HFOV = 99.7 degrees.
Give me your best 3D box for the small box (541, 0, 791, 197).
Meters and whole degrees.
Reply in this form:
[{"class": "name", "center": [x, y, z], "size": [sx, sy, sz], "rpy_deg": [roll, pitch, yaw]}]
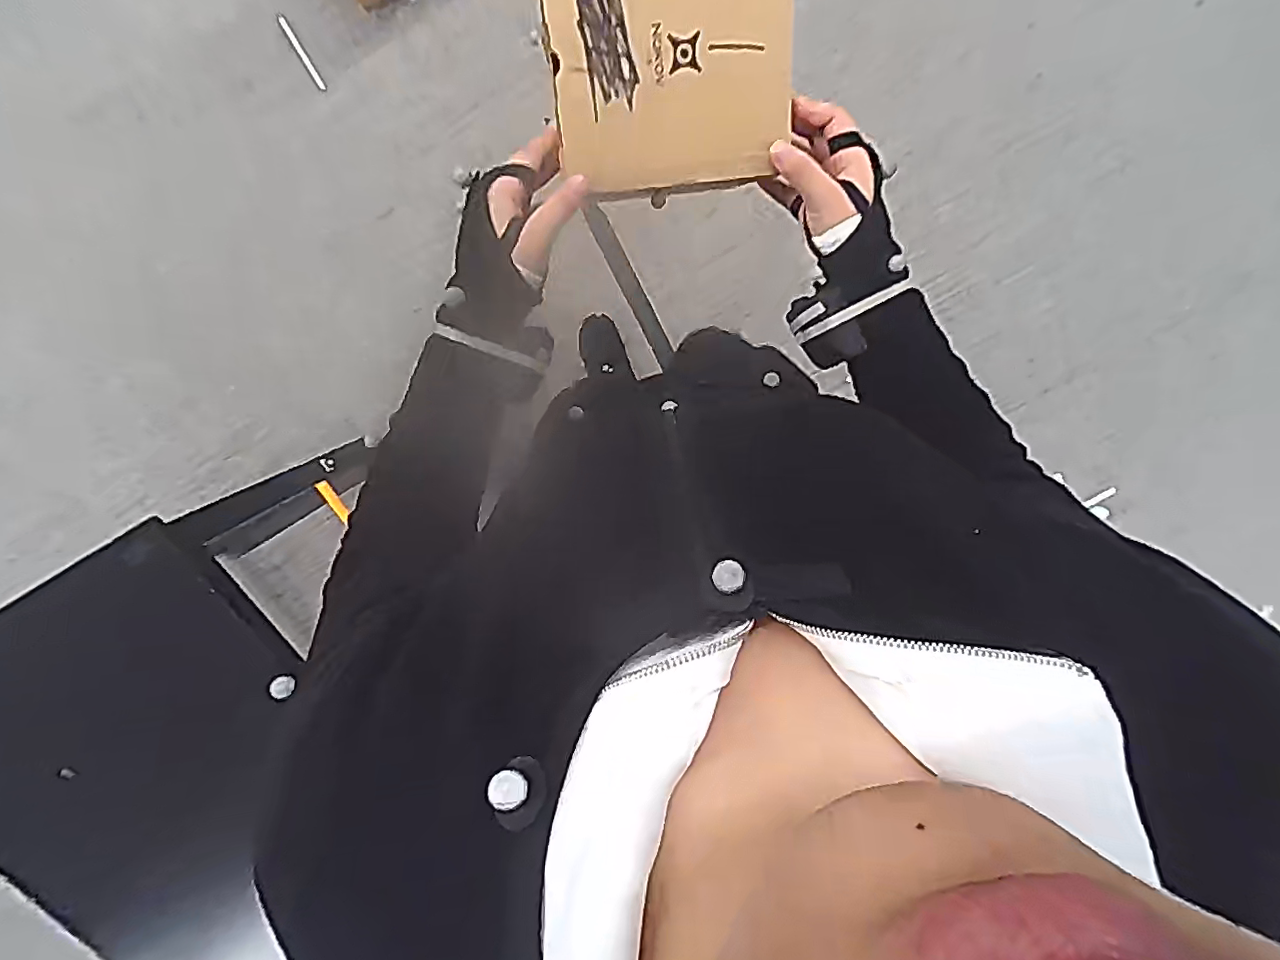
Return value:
[{"class": "small box", "center": [0.014, -0.341, 0.456], "size": [0.179, 0.176, 0.168], "rpy_deg": [-8, 116, -4]}]
